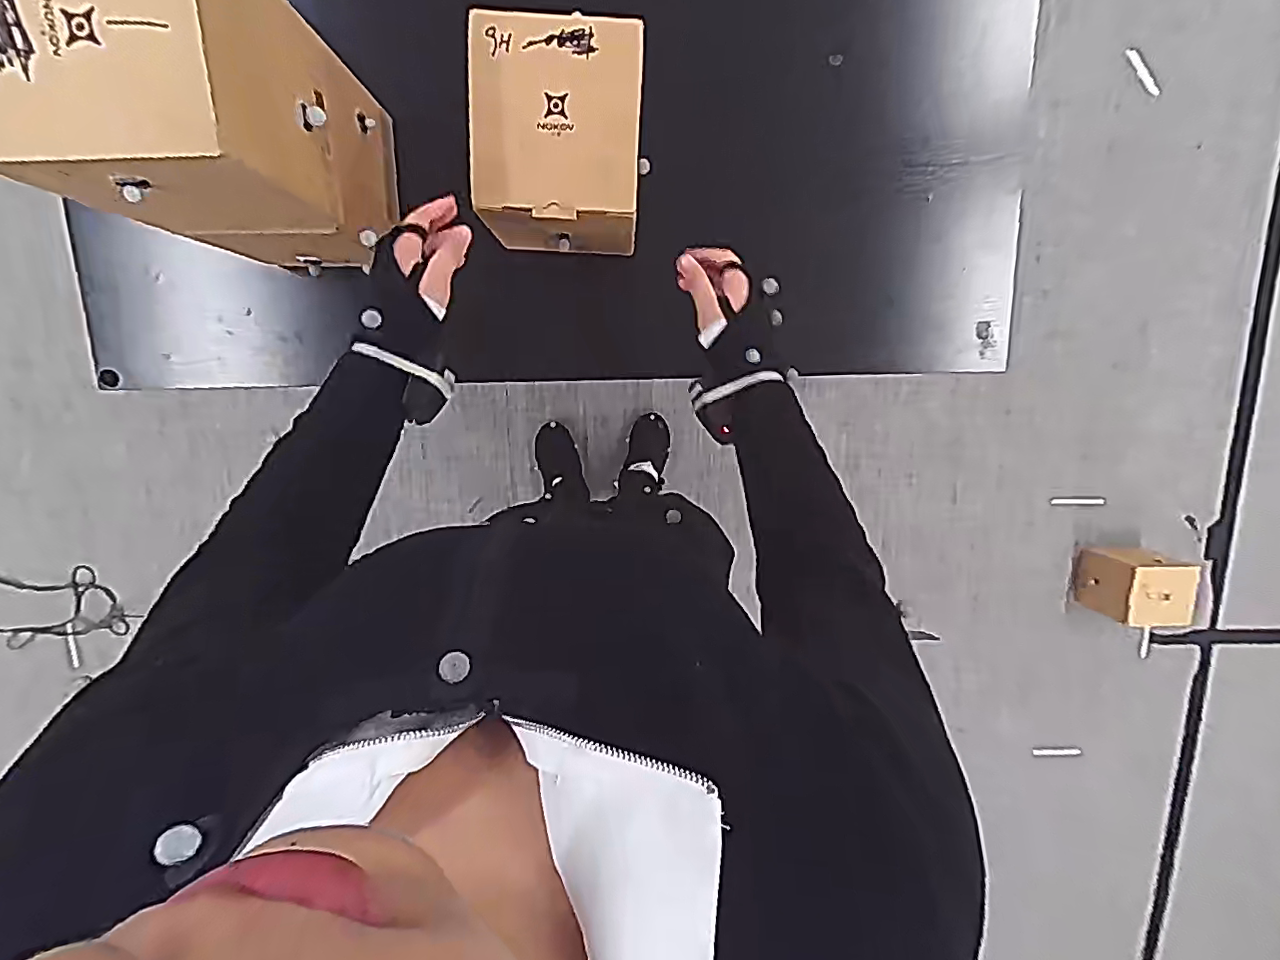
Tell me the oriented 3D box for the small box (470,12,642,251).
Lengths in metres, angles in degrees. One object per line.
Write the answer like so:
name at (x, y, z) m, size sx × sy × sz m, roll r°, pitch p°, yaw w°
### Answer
small box at (-0.084, -0.365, 0.602) m, size 0.168 × 0.176 × 0.179 m, roll 2°, pitch 100°, yaw -2°

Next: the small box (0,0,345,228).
small box at (-0.375, -0.314, 0.436) m, size 0.179 × 0.176 × 0.168 m, roll -2°, pitch 100°, yaw -1°

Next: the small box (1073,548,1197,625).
small box at (1.360, 0.290, 1.497) m, size 0.179 × 0.176 × 0.168 m, roll 0°, pitch 100°, yaw -1°

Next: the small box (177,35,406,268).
small box at (-0.379, -0.344, 0.598) m, size 0.168 × 0.176 × 0.179 m, roll -1°, pitch 101°, yaw 0°
